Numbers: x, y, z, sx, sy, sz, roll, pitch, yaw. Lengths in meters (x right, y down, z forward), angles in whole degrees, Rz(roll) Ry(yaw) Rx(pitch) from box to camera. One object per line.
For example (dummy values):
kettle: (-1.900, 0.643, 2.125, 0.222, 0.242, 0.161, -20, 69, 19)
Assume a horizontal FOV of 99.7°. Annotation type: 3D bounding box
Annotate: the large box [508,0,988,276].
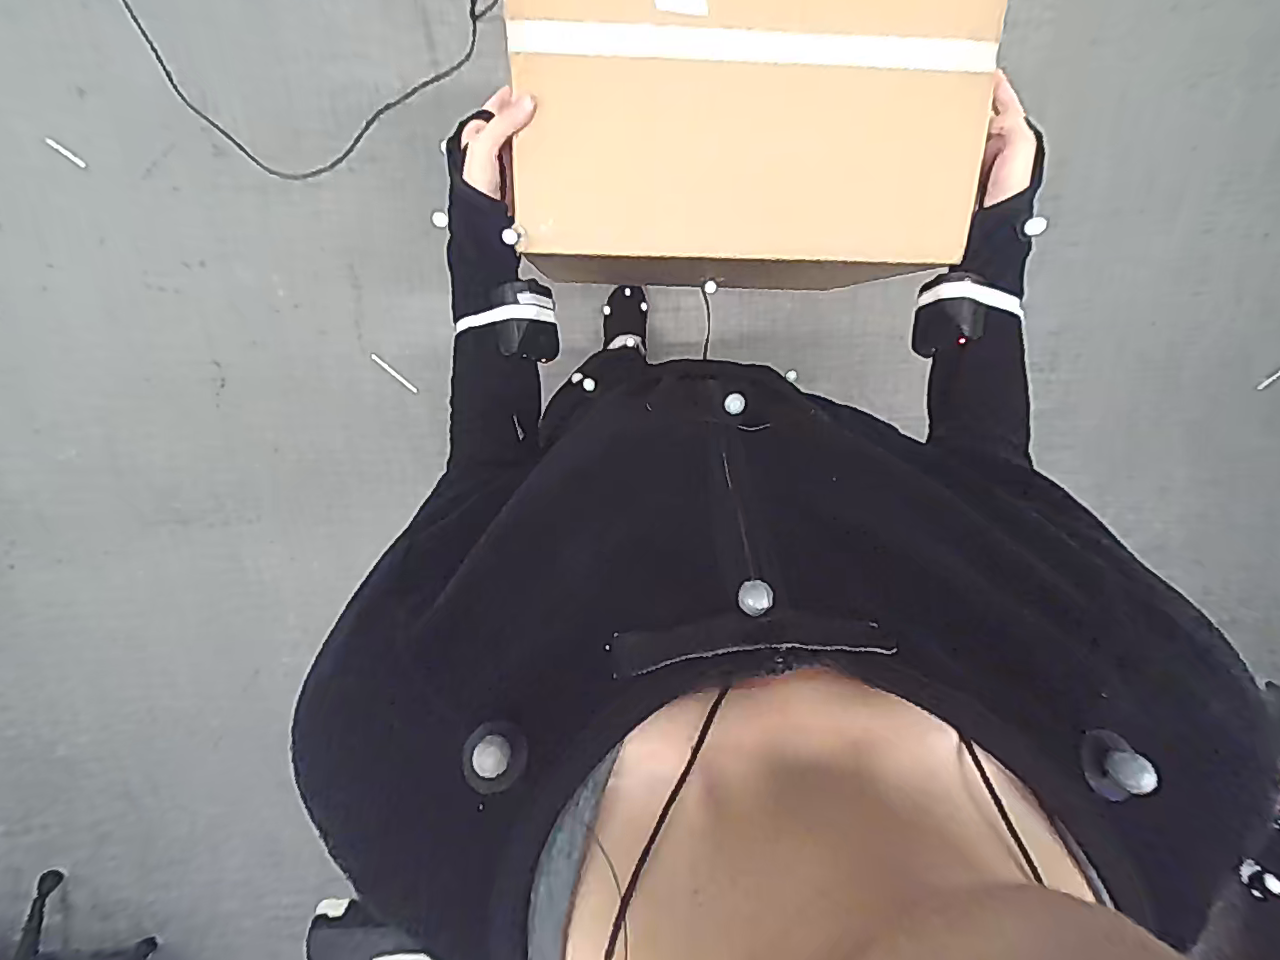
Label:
large box: (0.086, -0.400, 0.596, 0.408, 0.320, 0.320, 0, 105, -3)
